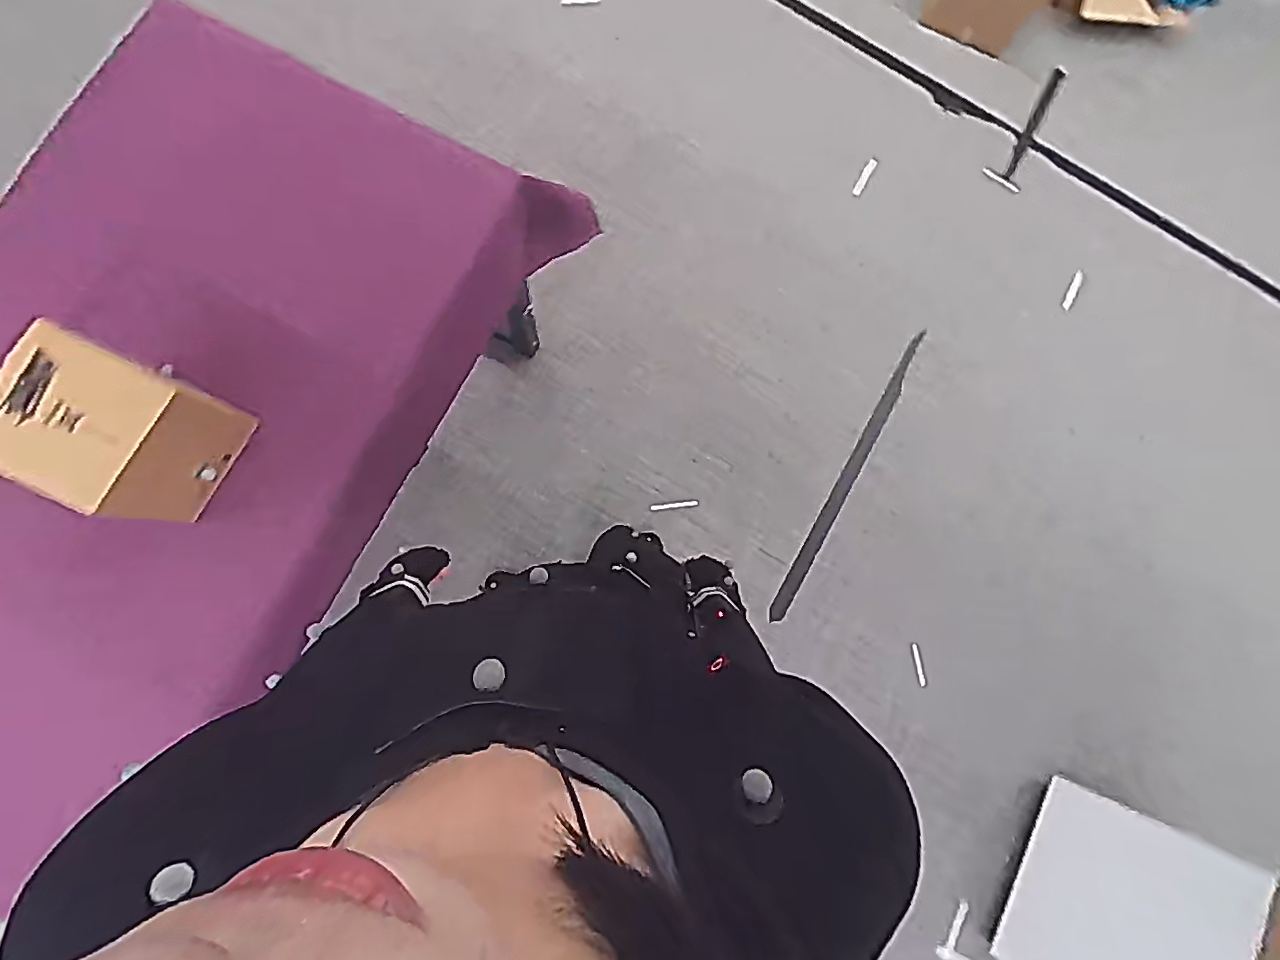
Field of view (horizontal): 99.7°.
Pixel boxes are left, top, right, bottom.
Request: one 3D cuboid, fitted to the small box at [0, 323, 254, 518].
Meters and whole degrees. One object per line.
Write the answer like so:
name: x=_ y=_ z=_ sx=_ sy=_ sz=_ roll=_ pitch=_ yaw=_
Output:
small box: x=-0.651 y=-0.059 z=0.681 sx=0.179 sy=0.176 sz=0.168 roll=27 pitch=80 yaw=-3
